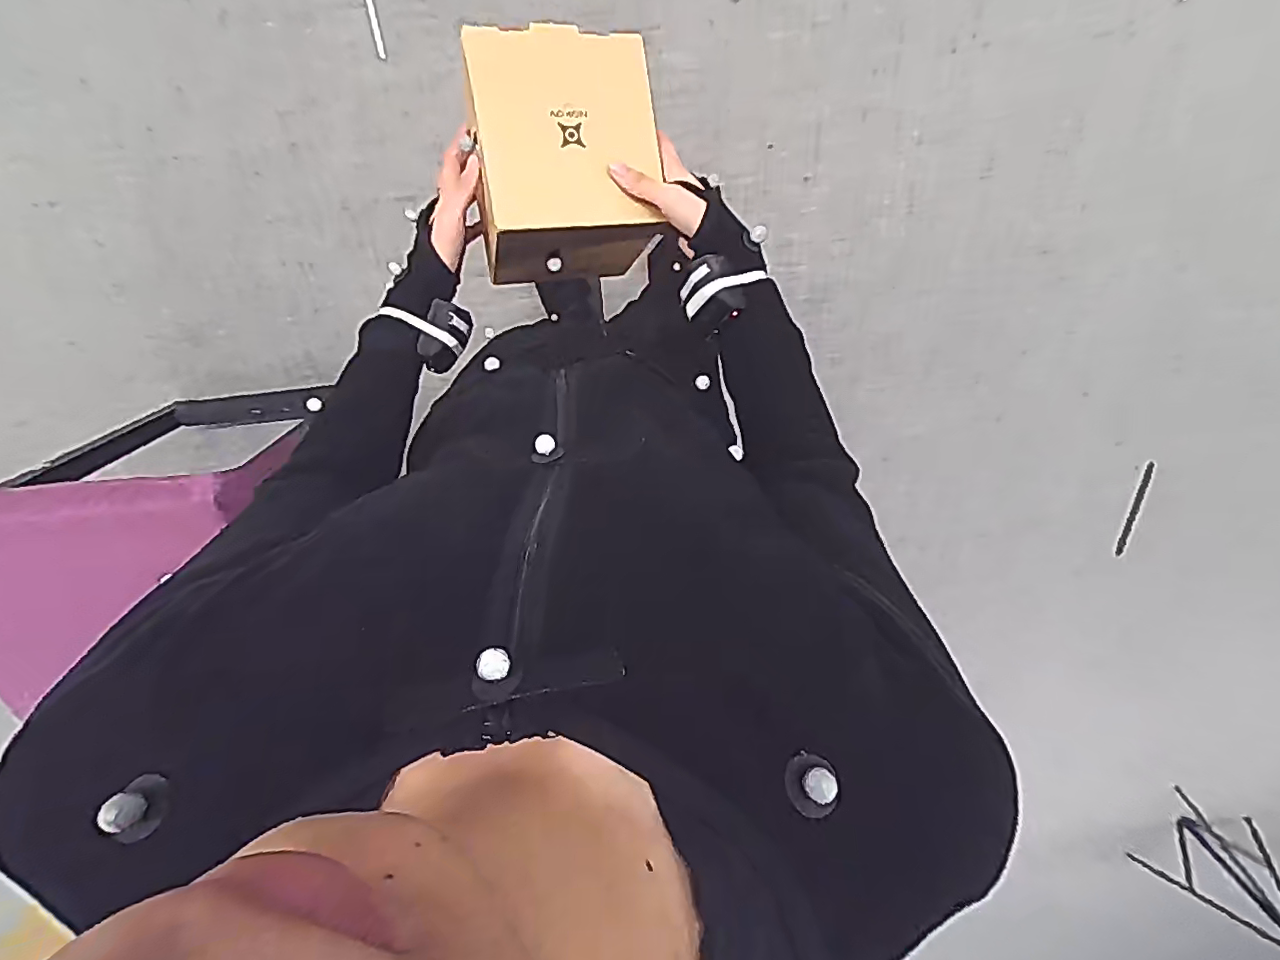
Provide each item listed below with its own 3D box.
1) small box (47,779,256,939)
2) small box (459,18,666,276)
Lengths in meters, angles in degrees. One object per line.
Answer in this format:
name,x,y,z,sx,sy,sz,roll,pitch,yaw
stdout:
small box,-0.821,0.646,0.932,0.179,0.176,0.168,-4,118,-1
small box,-0.085,-0.323,0.562,0.168,0.176,0.179,-11,95,-15
